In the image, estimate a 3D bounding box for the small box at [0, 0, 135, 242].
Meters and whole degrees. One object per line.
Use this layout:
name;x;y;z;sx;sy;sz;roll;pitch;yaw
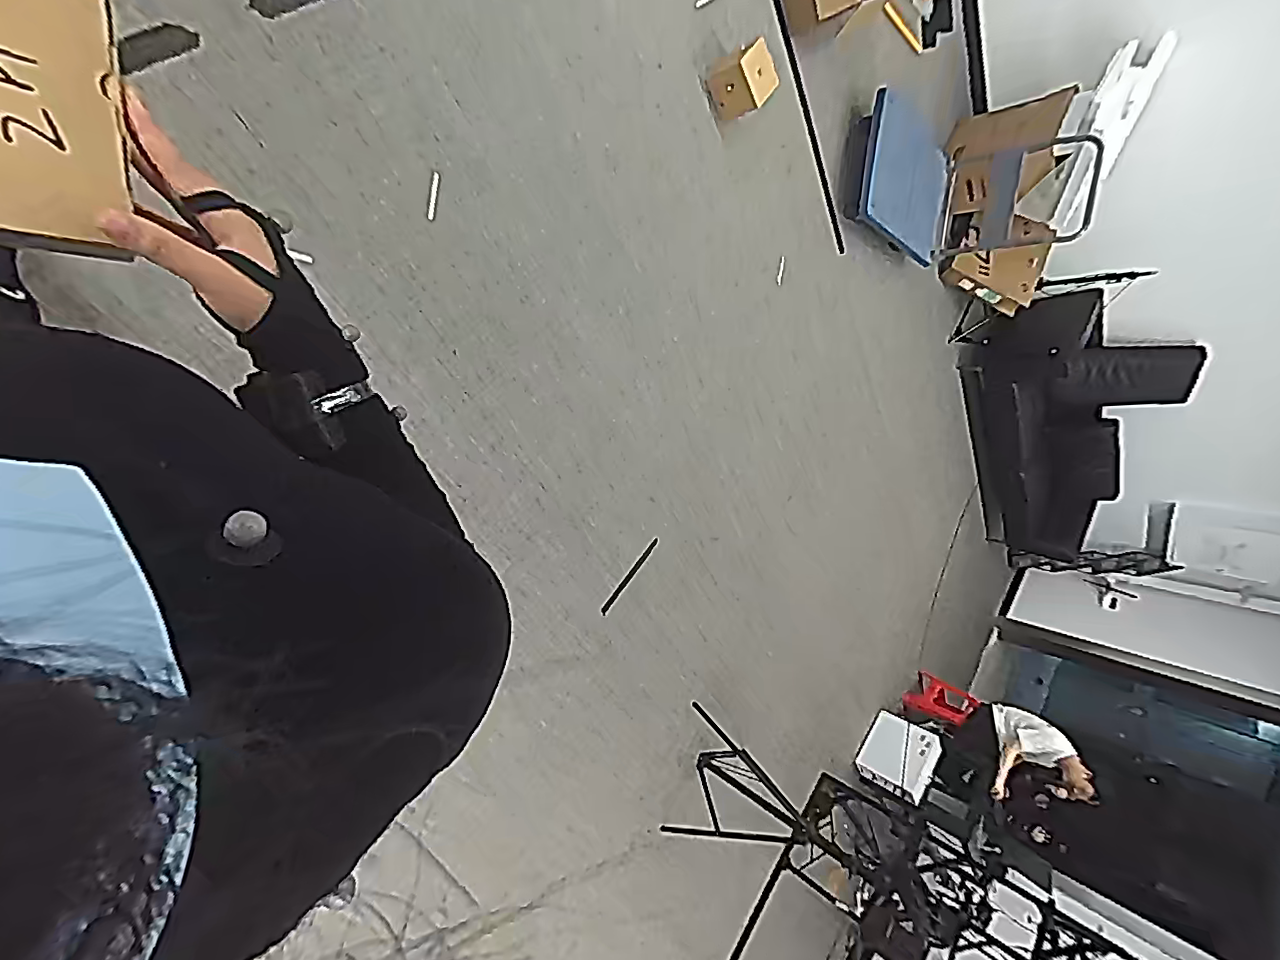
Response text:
small box;-0.400;-0.234;0.293;0.179;0.176;0.168;-6;109;-43

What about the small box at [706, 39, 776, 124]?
small box;0.368;-1.465;2.000;0.179;0.176;0.168;-56;130;-20
